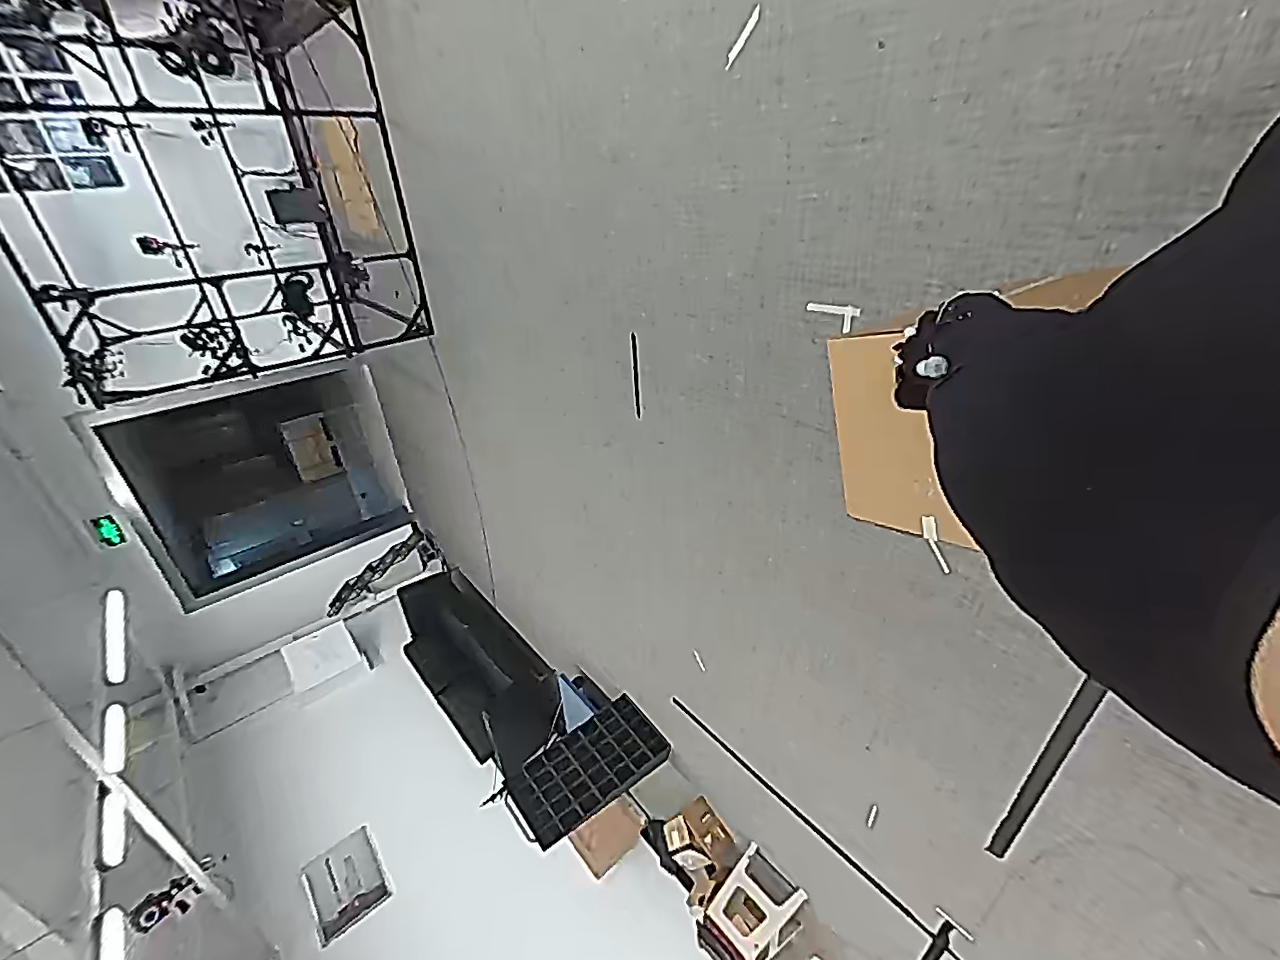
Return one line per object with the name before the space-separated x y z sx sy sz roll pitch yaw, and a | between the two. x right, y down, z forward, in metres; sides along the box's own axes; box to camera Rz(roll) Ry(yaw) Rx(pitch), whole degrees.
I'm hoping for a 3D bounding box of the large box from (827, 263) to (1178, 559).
large box | 0.564 -0.125 0.854 0.320 0.408 0.320 14 123 58
